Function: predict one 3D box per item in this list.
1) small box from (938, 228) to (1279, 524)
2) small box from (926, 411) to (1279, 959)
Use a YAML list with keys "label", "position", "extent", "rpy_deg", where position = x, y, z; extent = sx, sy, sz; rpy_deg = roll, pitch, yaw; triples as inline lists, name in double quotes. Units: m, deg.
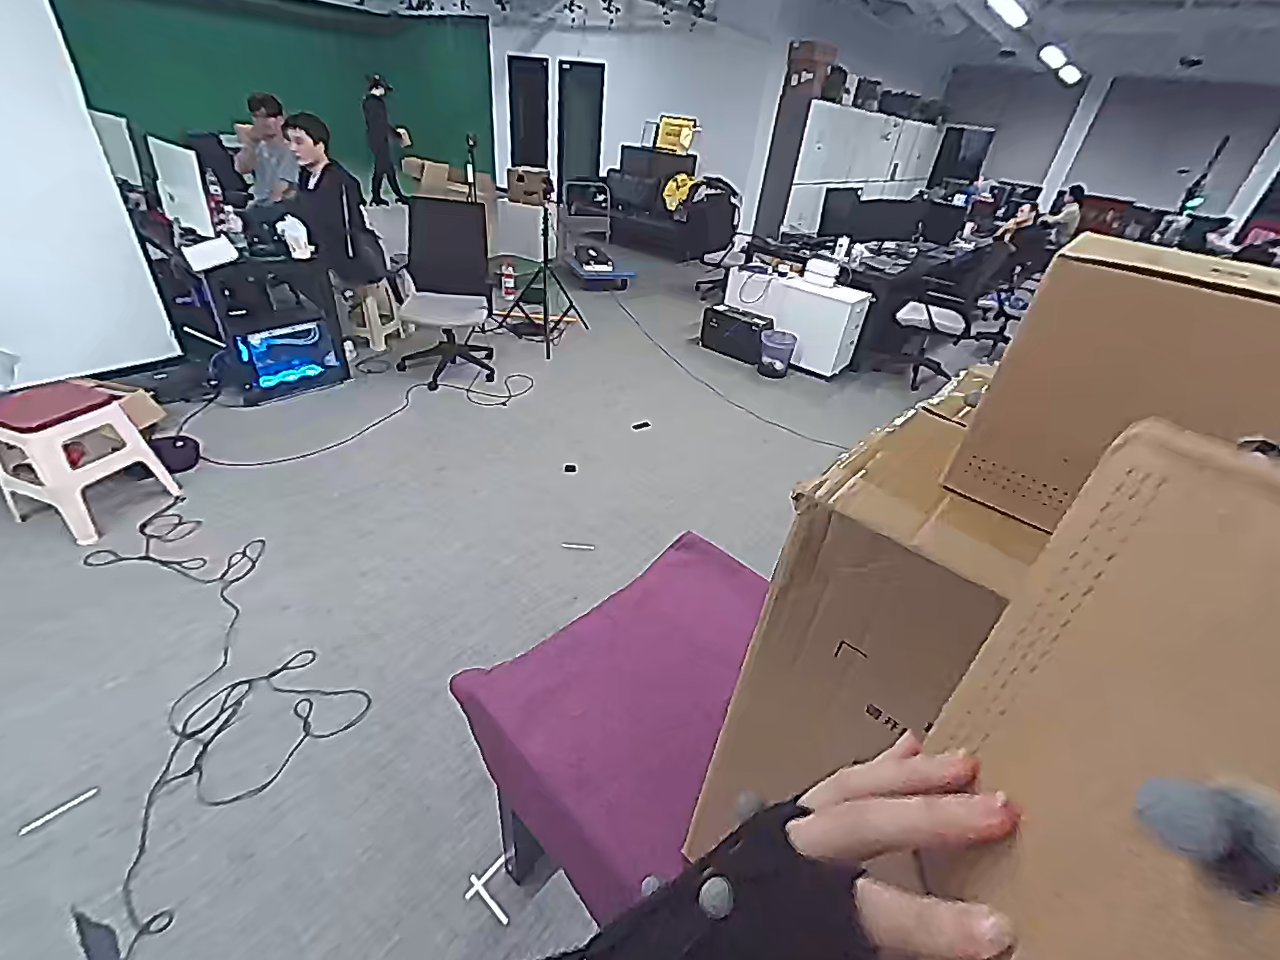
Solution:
- label: "small box"
  position: [0.344, -0.060, 0.370]
  extent: [0.179, 0.176, 0.168]
  rpy_deg: [29, 39, 29]
- label: "small box"
  position: [0.196, 0.096, 0.120]
  extent: [0.168, 0.179, 0.176]
  rpy_deg: [19, 19, 6]
